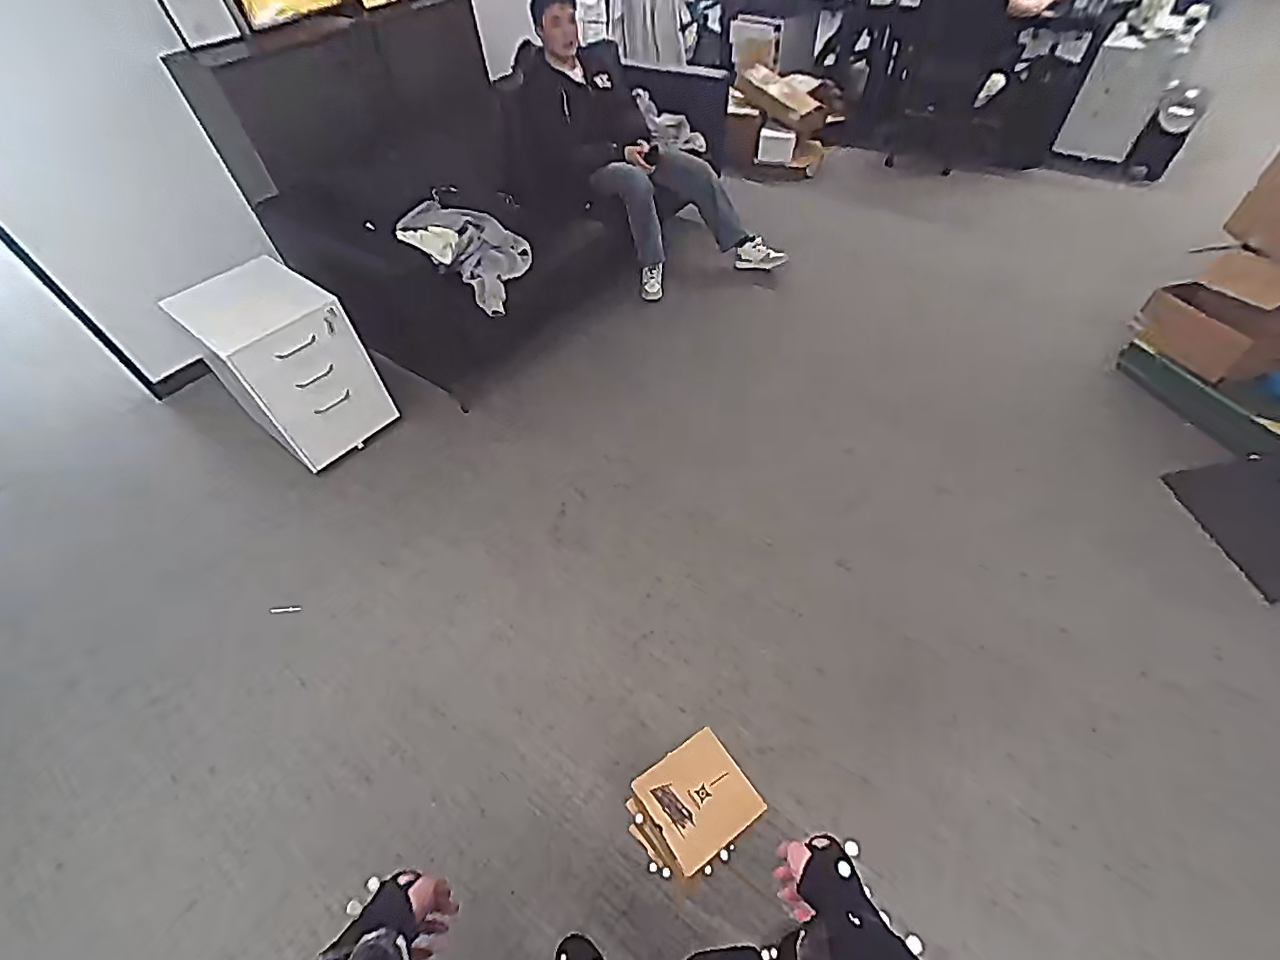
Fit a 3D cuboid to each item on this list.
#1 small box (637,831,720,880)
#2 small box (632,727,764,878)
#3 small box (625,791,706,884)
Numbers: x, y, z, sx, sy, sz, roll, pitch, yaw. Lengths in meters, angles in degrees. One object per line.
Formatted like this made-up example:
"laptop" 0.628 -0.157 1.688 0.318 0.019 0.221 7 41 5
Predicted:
"small box" 0.103 0.797 1.248 0.179 0.176 0.168 8 49 13
"small box" 0.103 0.597 0.996 0.179 0.176 0.168 -25 54 -17
"small box" 0.091 0.701 1.126 0.168 0.176 0.179 -34 54 -24
